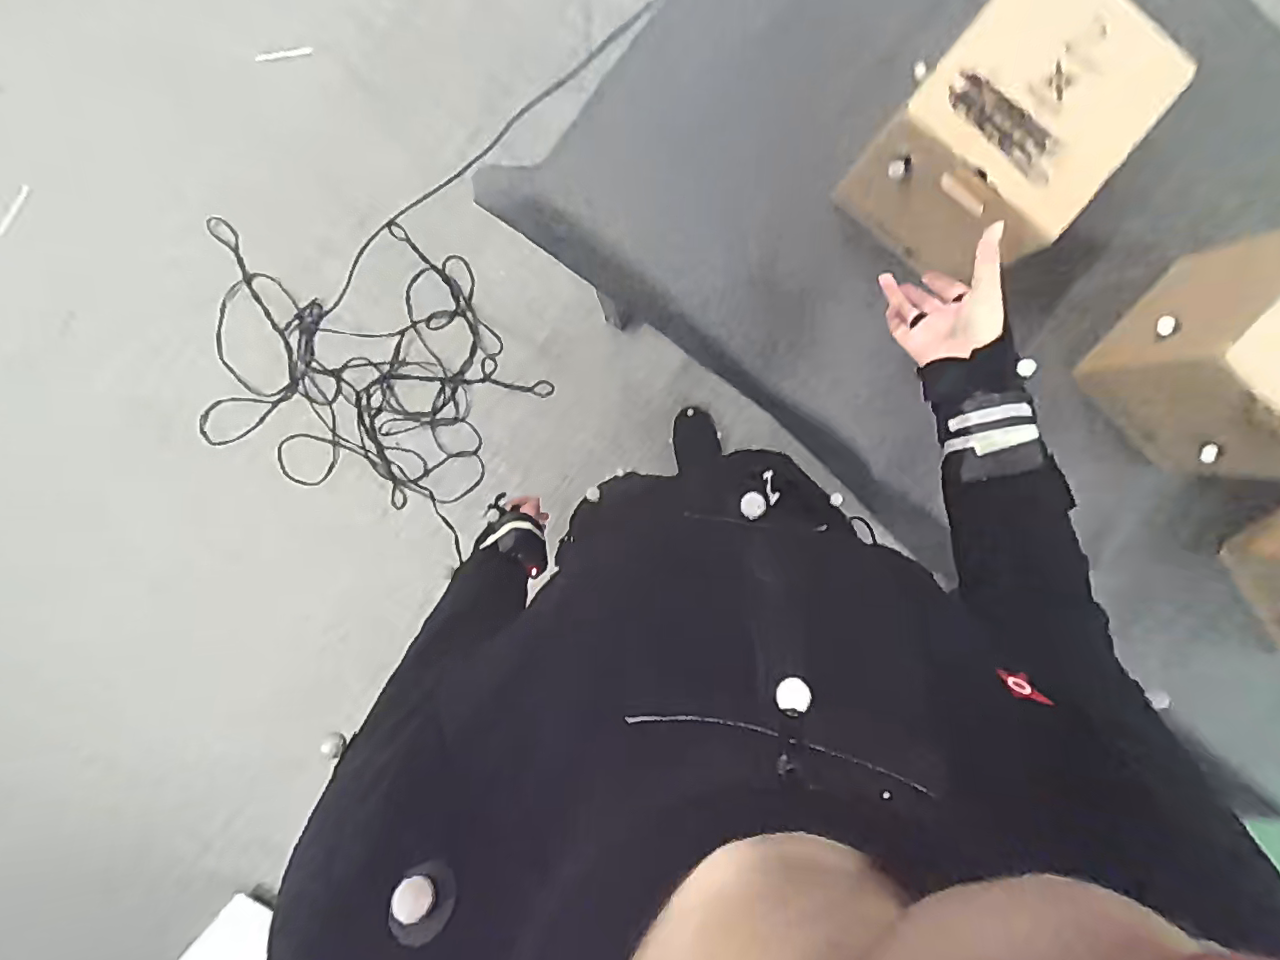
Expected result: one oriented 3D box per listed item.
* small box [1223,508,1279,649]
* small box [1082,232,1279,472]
[{"bbox_3d":[0.799,0.104,0.564,0.179,0.176,0.168,-35,95,4],"label":"small box"},{"bbox_3d":[0.603,-0.119,0.541,0.168,0.176,0.179,42,93,-5],"label":"small box"}]
